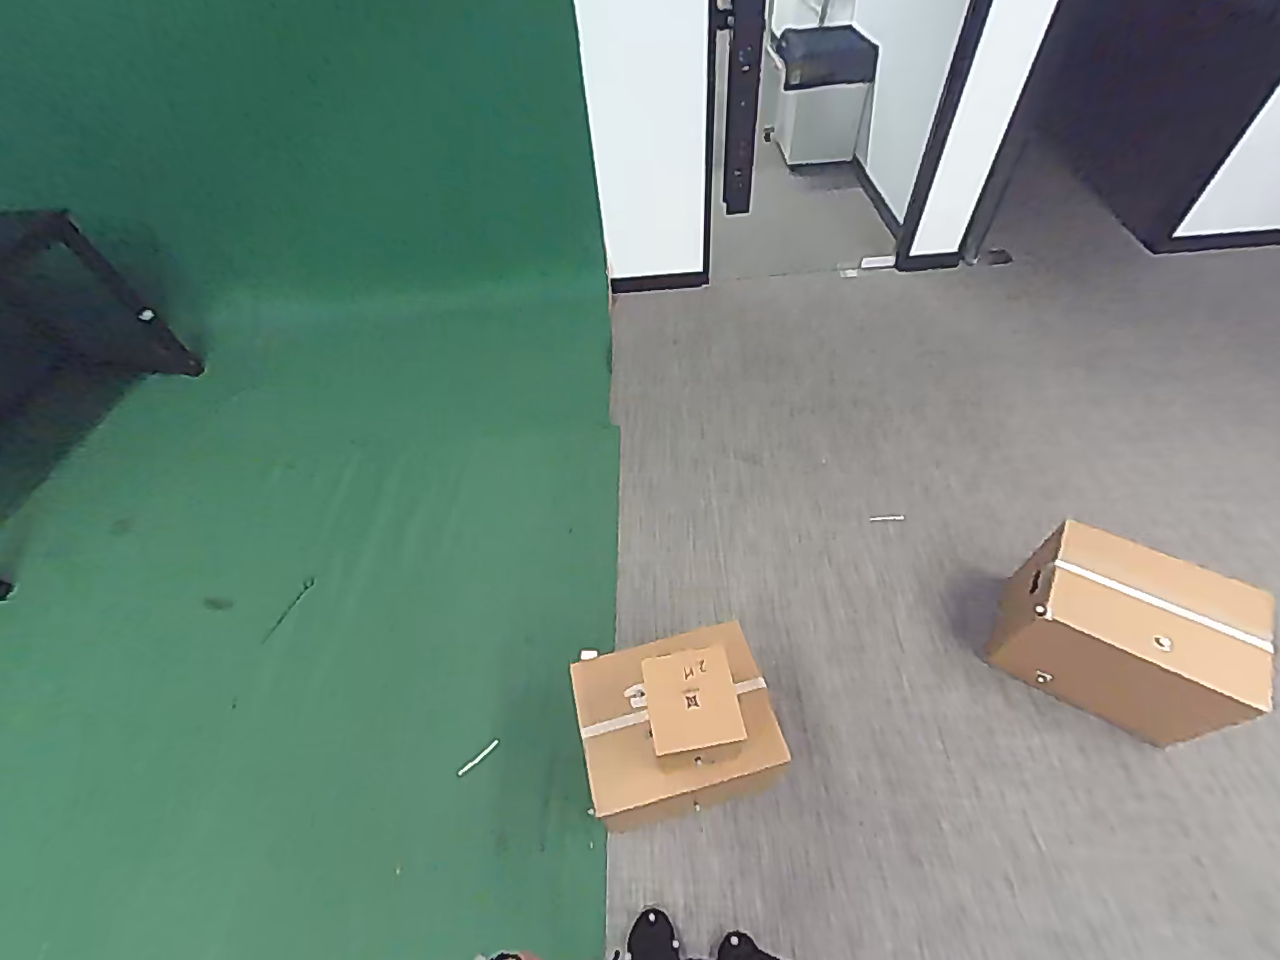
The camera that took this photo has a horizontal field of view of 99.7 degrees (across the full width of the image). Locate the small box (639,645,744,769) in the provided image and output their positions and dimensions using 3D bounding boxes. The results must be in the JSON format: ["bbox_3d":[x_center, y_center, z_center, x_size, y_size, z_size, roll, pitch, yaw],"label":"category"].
[{"bbox_3d":[0.095,0.445,1.046,0.168,0.176,0.179,-8,51,-4],"label":"small box"}]

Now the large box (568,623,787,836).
[{"bbox_3d":[0.078,0.582,1.256,0.408,0.320,0.320,-14,50,-5],"label":"large box"}]
